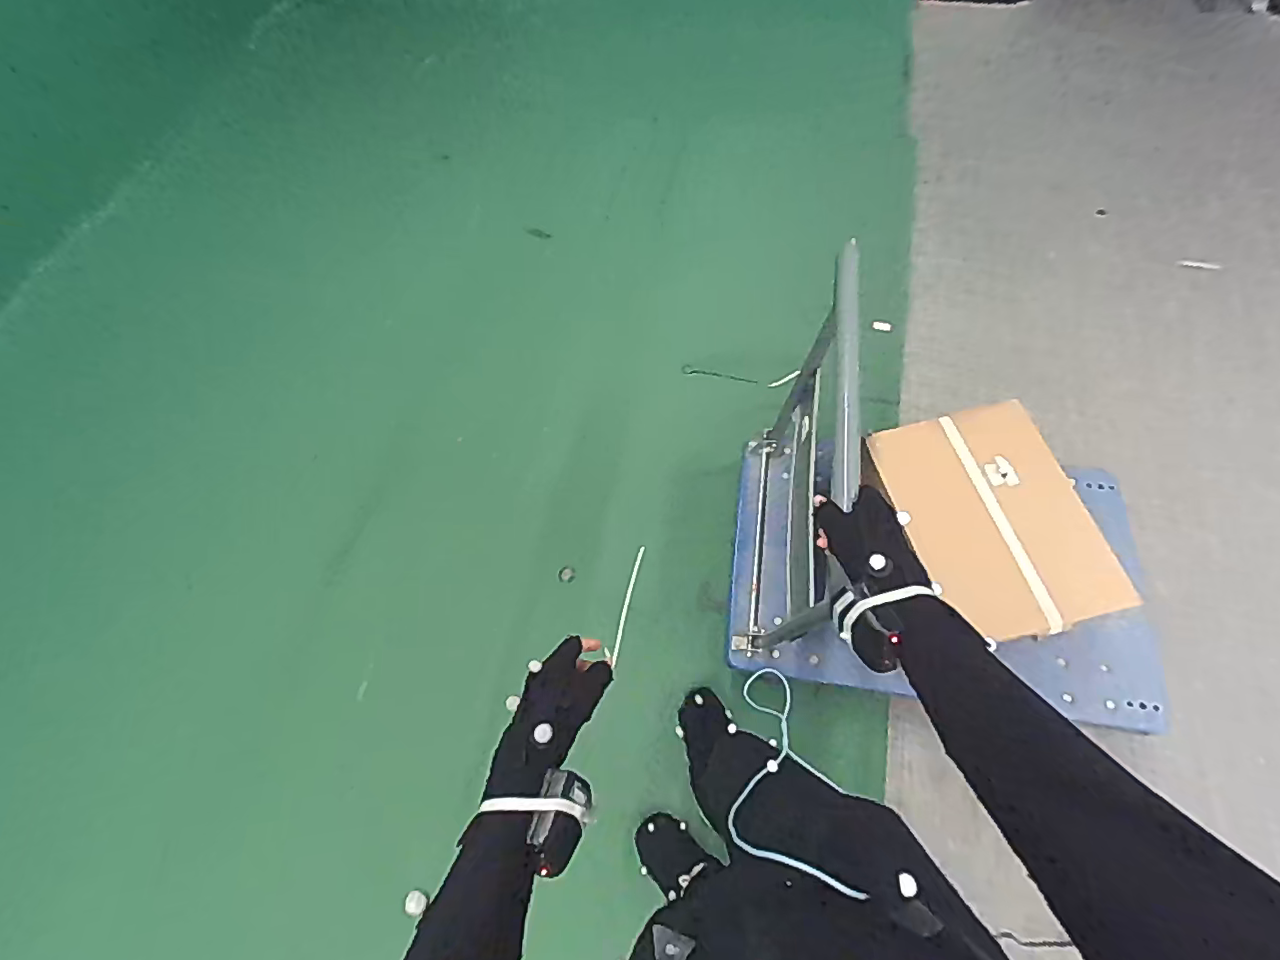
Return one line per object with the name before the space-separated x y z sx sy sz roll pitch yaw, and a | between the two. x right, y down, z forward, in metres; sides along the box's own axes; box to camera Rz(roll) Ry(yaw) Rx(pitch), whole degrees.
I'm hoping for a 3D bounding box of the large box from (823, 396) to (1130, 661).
large box | 0.618 0.111 1.091 0.320 0.320 0.408 -14 65 -2
